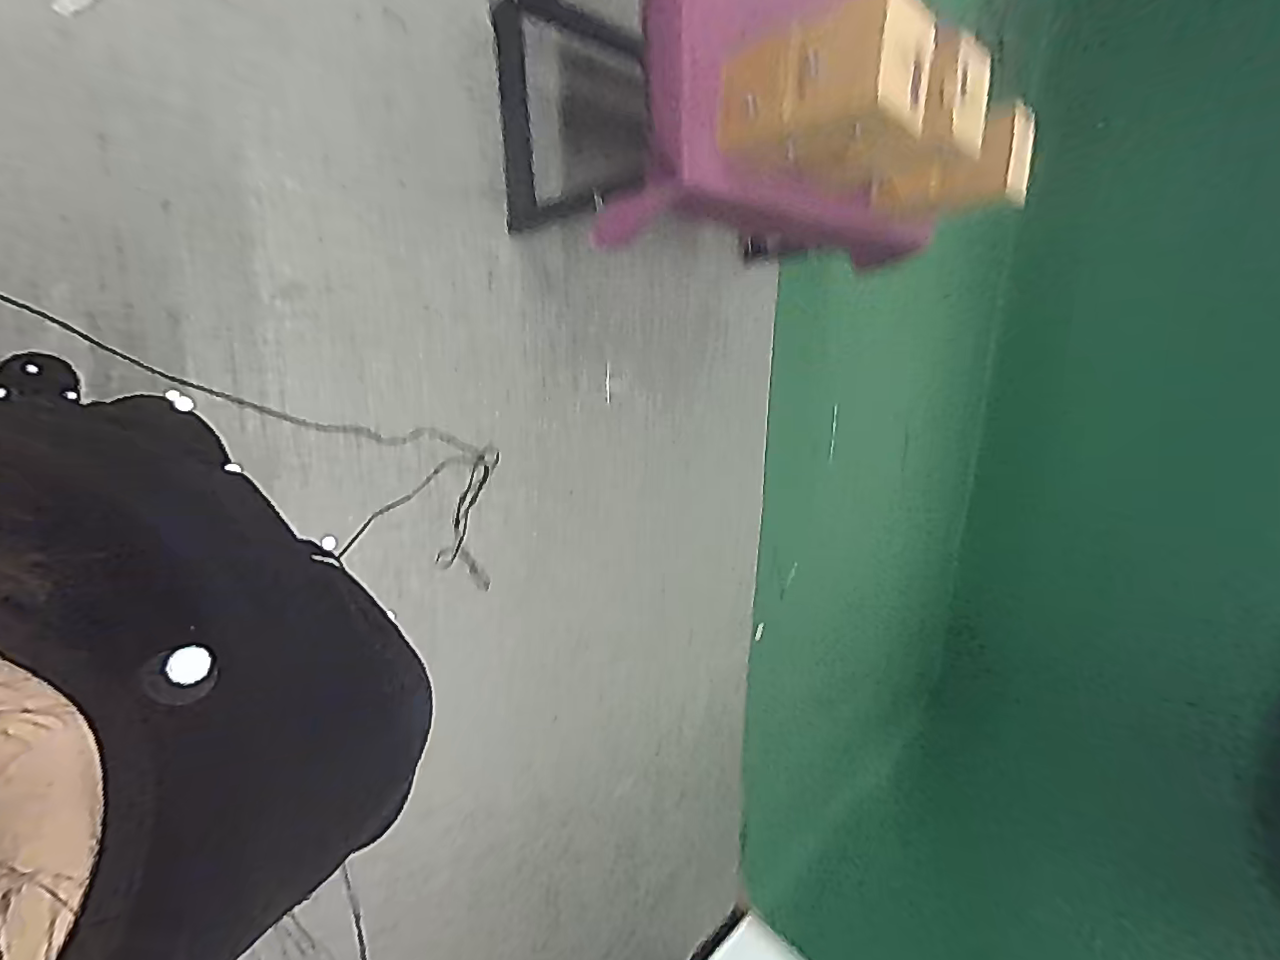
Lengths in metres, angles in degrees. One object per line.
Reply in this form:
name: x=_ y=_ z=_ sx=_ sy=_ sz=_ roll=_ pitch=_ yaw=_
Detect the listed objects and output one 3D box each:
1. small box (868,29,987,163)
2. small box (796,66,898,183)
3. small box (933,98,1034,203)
small box: x=0.597 y=-0.786 z=1.131 sx=0.179 sy=0.176 sz=0.168 roll=-15 pitch=110 yaw=-41
small box: x=0.486 y=-0.806 z=1.251 sx=0.179 sy=0.176 sz=0.168 roll=-11 pitch=106 yaw=-41
small box: x=0.869 y=-0.825 z=1.377 sx=0.168 sy=0.176 sz=0.179 roll=-11 pitch=108 yaw=-42
